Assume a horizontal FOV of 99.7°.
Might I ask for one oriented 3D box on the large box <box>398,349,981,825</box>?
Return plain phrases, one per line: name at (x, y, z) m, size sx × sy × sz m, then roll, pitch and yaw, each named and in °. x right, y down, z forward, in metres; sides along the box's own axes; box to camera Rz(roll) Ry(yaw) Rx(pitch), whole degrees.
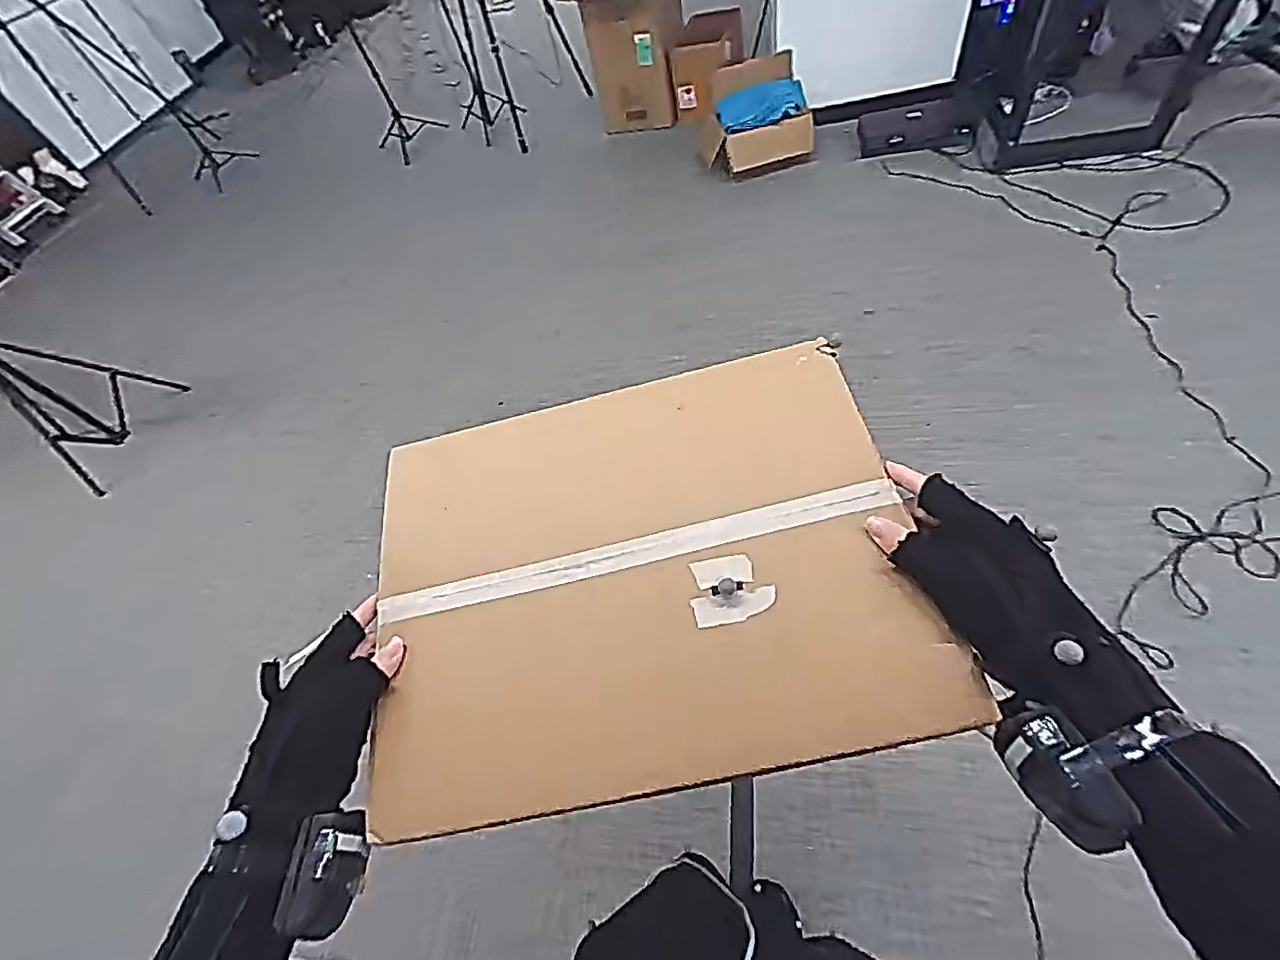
large box at (0.025, 0.127, 0.556) m, size 0.408 × 0.320 × 0.320 m, roll -13°, pitch 61°, yaw 4°
